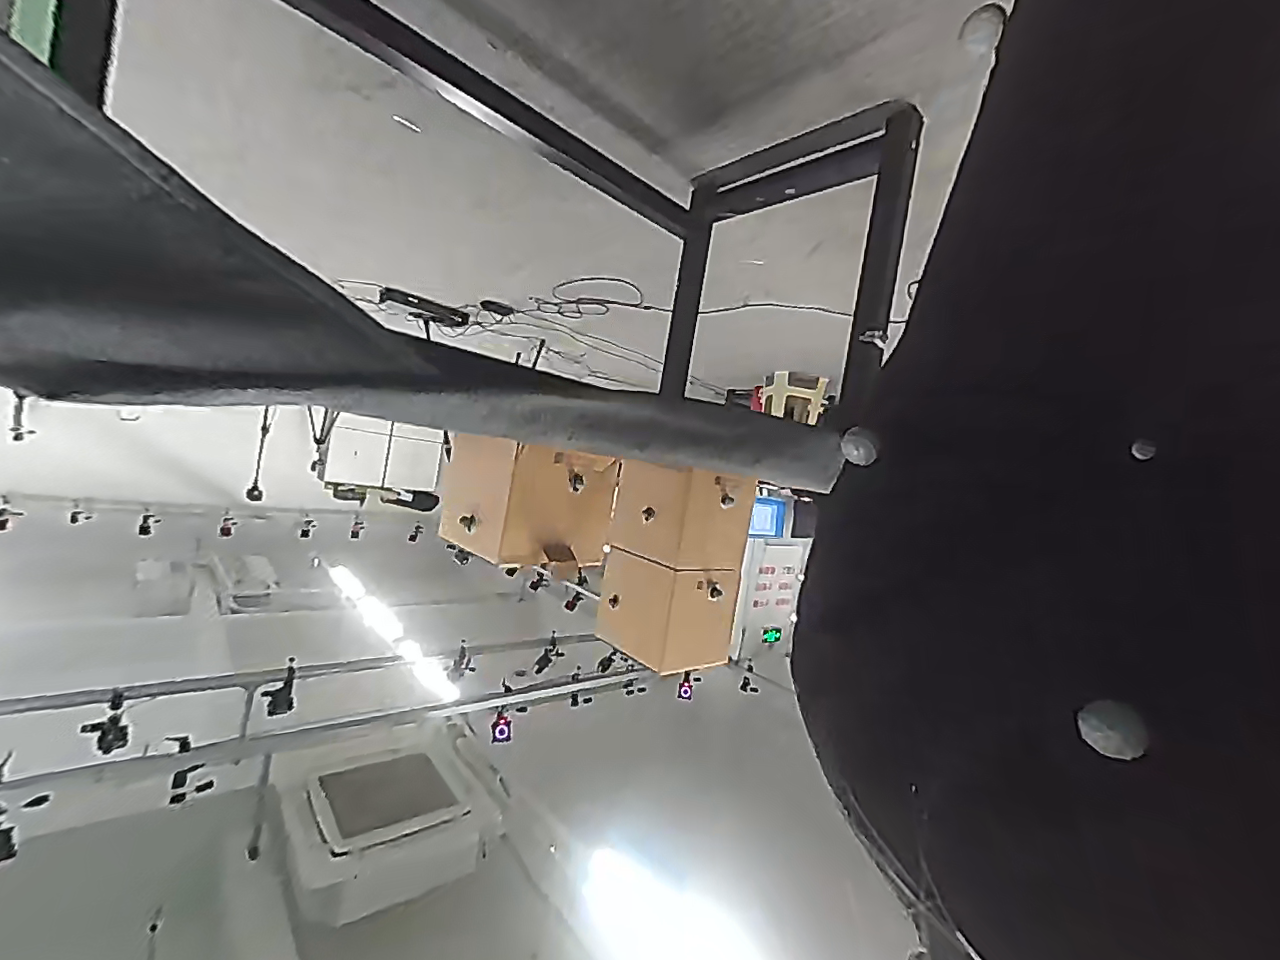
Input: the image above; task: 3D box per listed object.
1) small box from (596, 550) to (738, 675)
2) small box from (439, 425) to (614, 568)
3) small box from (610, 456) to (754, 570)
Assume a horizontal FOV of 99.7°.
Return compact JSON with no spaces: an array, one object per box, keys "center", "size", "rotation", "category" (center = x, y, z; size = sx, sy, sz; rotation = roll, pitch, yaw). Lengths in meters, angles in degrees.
[{"center":[0.049,0.213,0.936],"size":[0.168,0.176,0.179],"rotation":[6,-178,-40],"category":"small box"},{"center":[-0.154,0.020,0.750],"size":[0.168,0.176,0.179],"rotation":[8,-178,-44],"category":"small box"},{"center":[0.074,0.053,0.931],"size":[0.168,0.176,0.179],"rotation":[7,-178,-40],"category":"small box"}]
